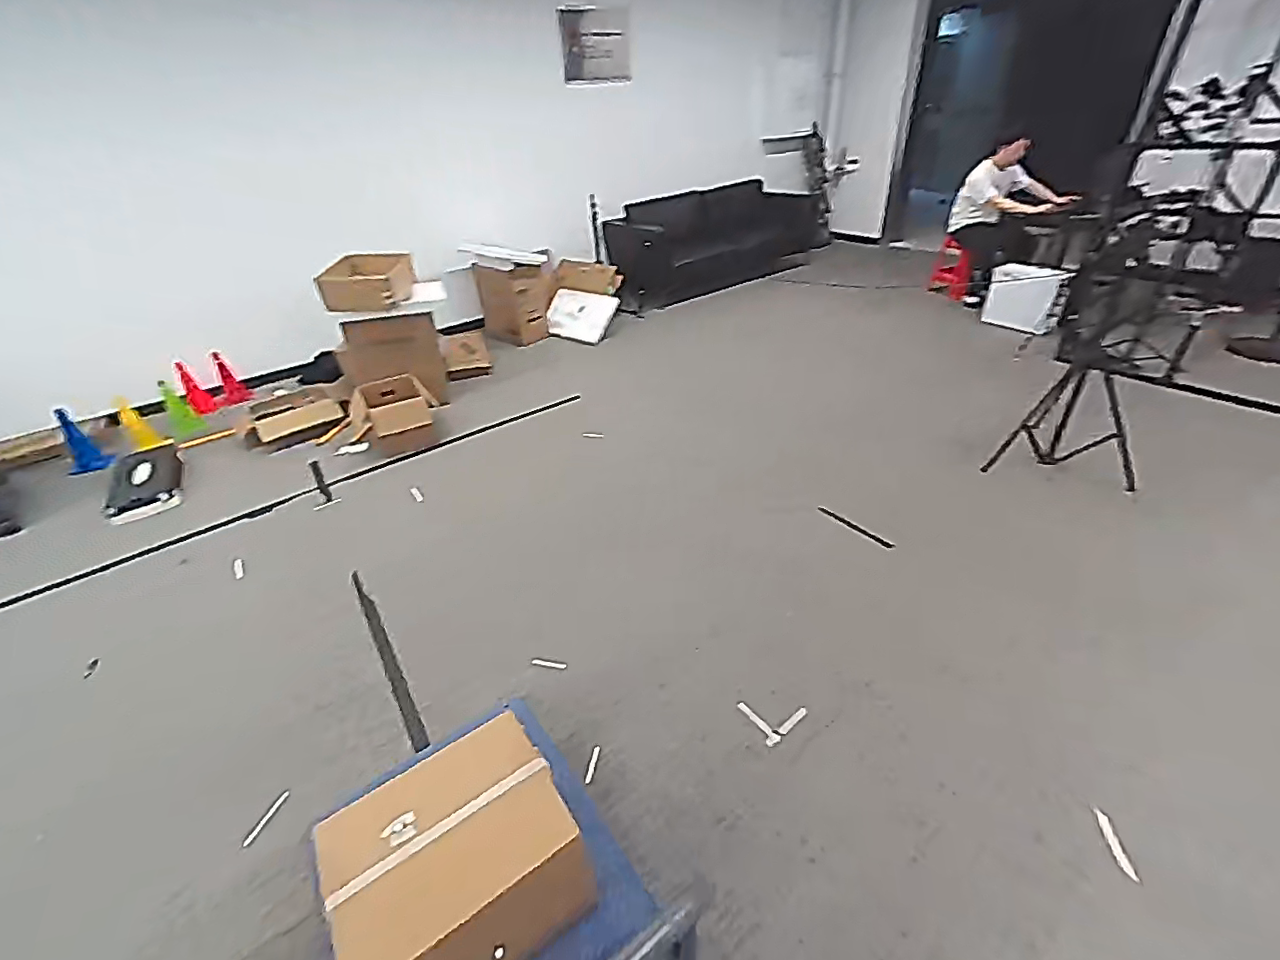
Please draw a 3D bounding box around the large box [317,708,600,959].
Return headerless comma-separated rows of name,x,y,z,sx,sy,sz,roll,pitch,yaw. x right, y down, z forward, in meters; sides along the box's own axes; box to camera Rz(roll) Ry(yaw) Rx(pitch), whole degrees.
large box,-0.339,0.755,1.069,0.408,0.320,0.320,-25,38,-26
